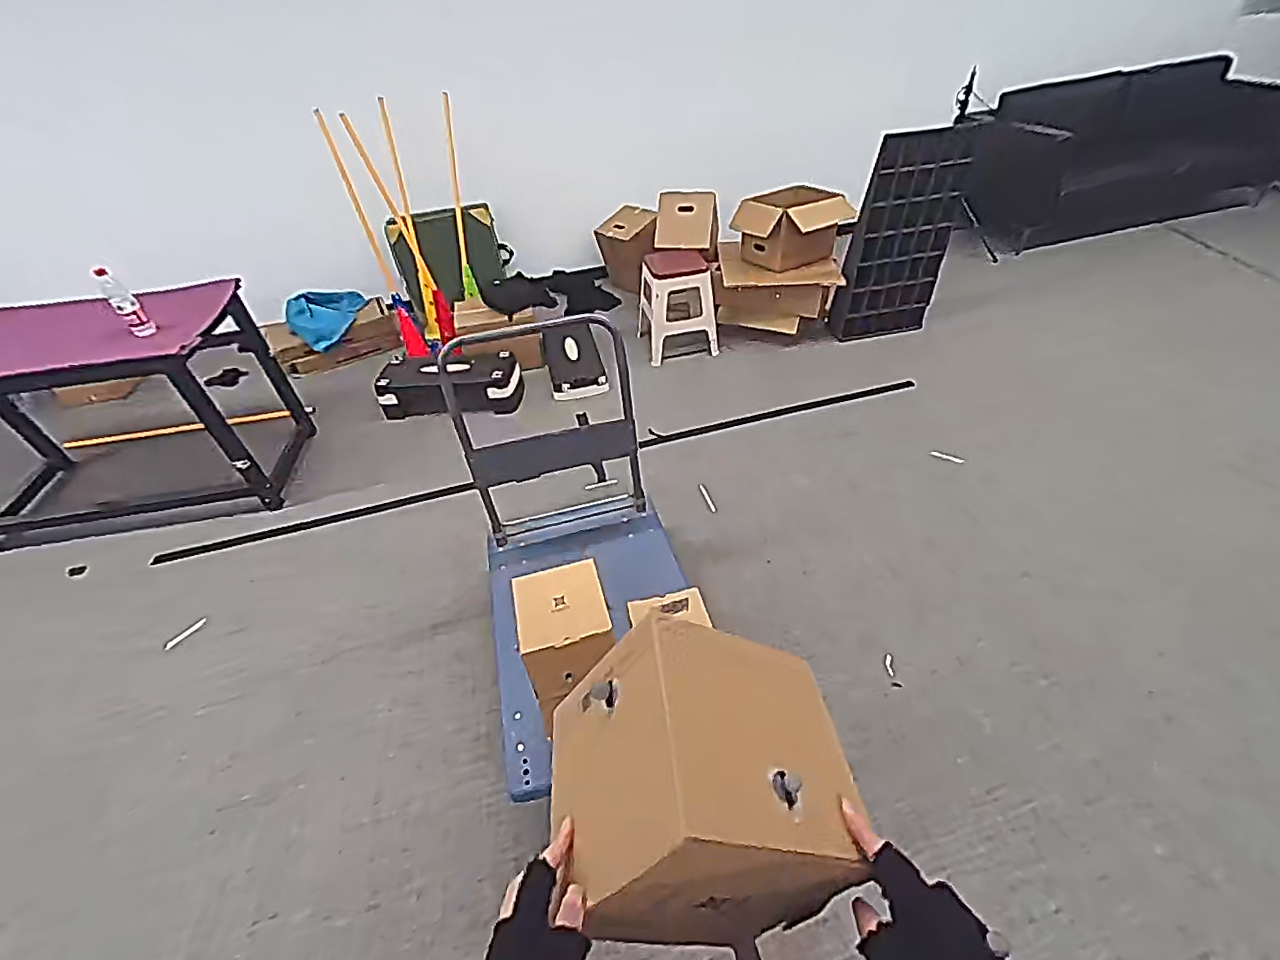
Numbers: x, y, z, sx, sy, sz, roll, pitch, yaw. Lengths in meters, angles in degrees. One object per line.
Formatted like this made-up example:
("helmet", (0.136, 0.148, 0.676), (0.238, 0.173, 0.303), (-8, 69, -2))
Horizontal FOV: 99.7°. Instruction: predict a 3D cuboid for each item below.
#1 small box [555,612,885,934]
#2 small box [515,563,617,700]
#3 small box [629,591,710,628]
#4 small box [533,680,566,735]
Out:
("small box", (0.048, 0.233, 0.436), (0.179, 0.168, 0.176), (25, 30, -23))
("small box", (-0.141, 0.297, 1.060), (0.168, 0.176, 0.179), (-13, 43, -10))
("small box", (0.076, 0.378, 1.194), (0.168, 0.176, 0.179), (-12, 43, -7))
("small box", (-0.139, 0.422, 1.165), (0.168, 0.176, 0.179), (-15, 44, -11))
